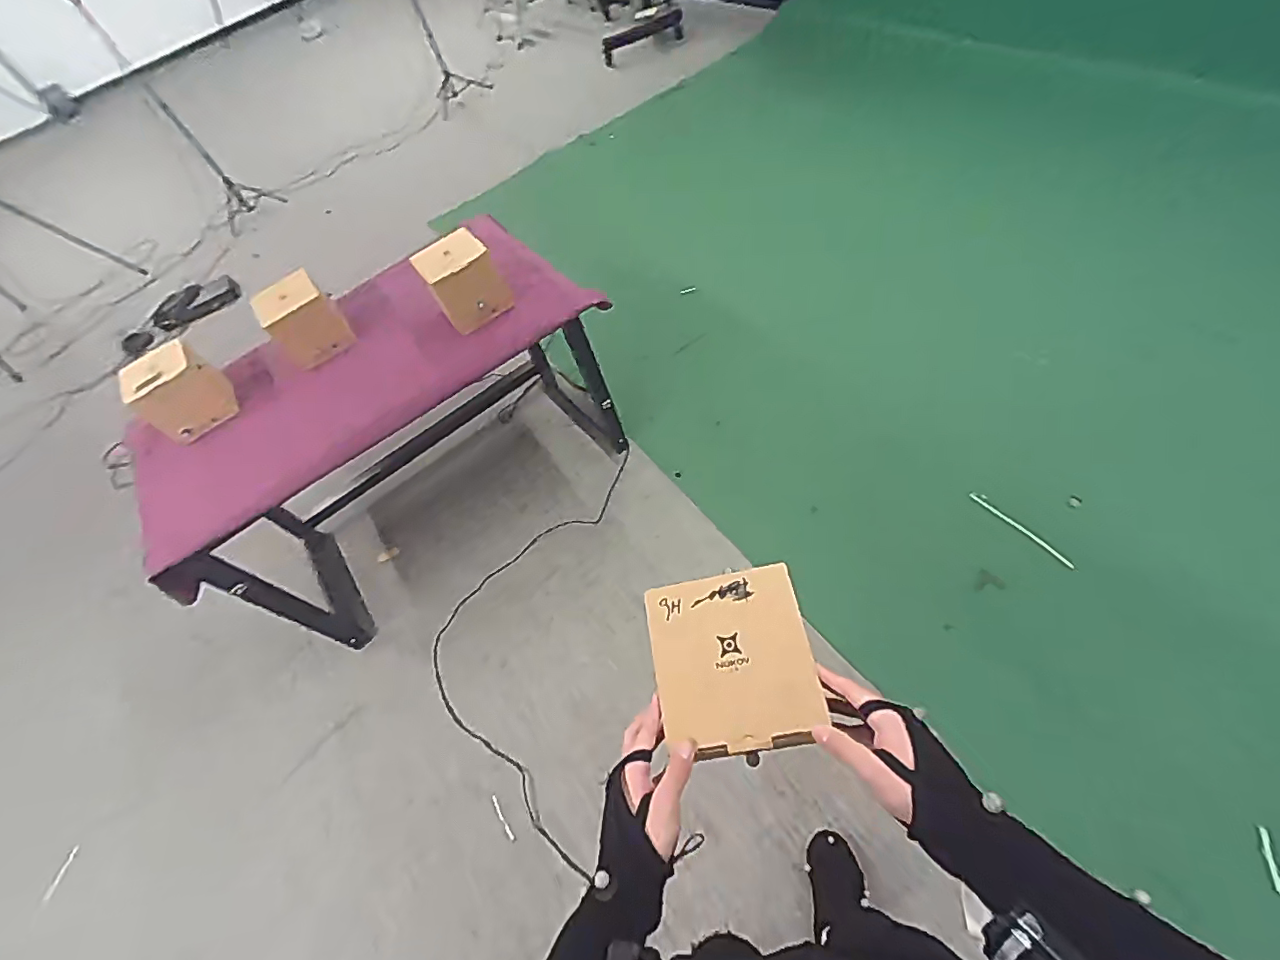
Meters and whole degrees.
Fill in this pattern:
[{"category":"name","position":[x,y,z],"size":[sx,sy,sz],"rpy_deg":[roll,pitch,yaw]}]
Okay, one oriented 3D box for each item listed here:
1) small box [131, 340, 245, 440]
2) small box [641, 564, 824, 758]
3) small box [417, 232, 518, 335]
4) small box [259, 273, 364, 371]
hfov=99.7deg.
[{"category":"small box","position":[-1.199,-0.233,1.444],"size":[0.168,0.176,0.179],"rpy_deg":[-36,56,-11]},{"category":"small box","position":[0.106,0.221,0.639],"size":[0.168,0.176,0.179],"rpy_deg":[-13,60,6]},{"category":"small box","position":[-0.455,-0.519,1.439],"size":[0.168,0.176,0.179],"rpy_deg":[-35,54,-9]},{"category":"small box","position":[-0.912,-0.437,1.509],"size":[0.168,0.176,0.179],"rpy_deg":[-36,56,-10]}]
